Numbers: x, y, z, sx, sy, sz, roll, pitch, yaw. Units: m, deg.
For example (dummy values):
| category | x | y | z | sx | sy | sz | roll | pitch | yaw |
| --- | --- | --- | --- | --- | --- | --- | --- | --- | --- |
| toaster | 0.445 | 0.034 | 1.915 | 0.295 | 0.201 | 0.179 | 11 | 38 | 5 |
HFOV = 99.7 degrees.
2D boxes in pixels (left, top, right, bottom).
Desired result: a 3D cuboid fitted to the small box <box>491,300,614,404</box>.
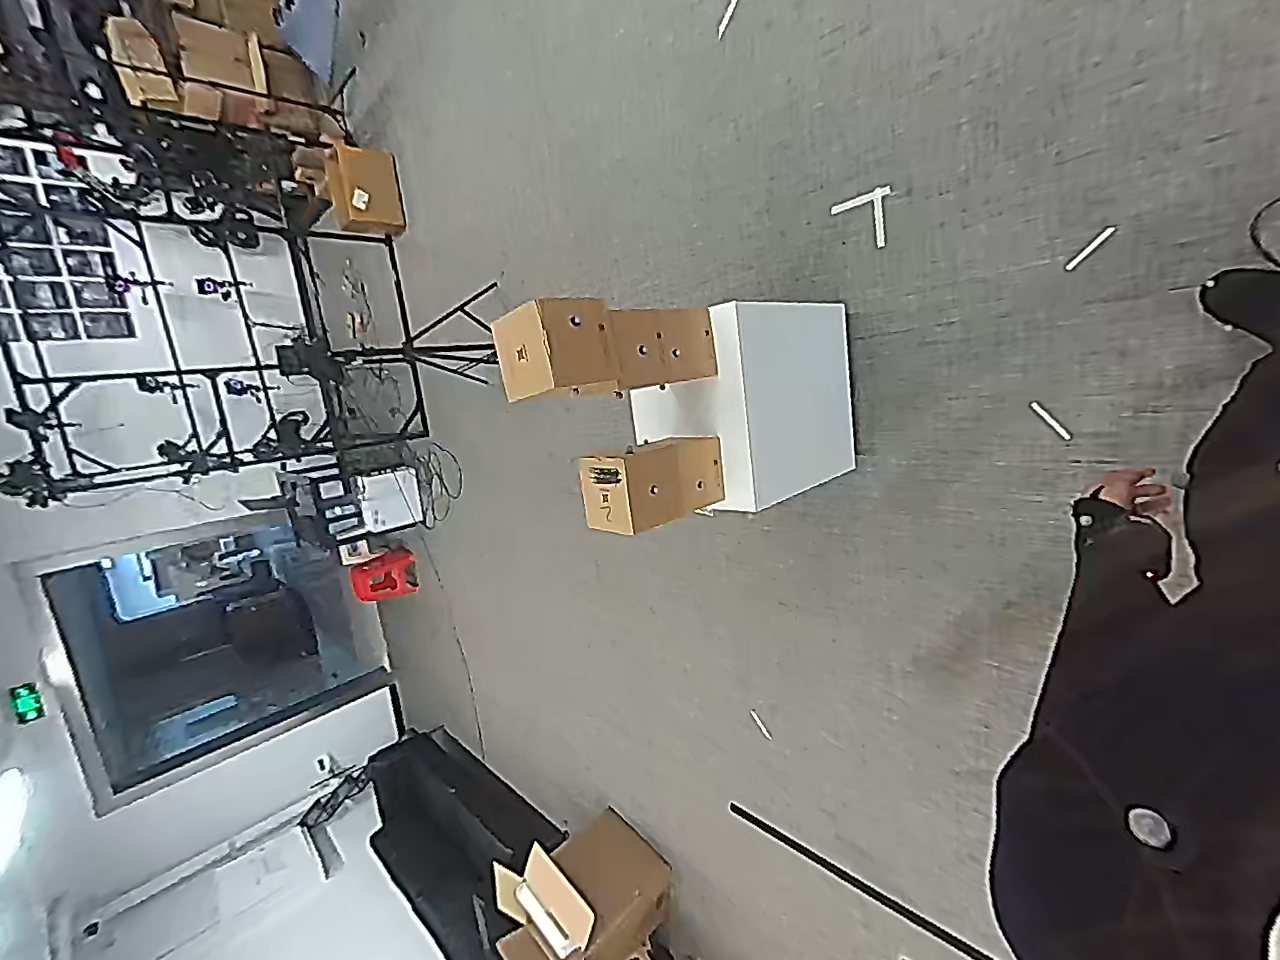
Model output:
| category | x | y | z | sx | sy | sz | roll | pitch | yaw |
| --- | --- | --- | --- | --- | --- | --- | --- | --- | --- |
| small box | -0.168 | -0.257 | 1.086 | 0.179 | 0.176 | 0.168 | -6 | 98 | 48 |

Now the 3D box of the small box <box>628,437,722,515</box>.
| category | x | y | z | sx | sy | sz | roll | pitch | yaw |
| --- | --- | --- | --- | --- | --- | --- | --- | --- | --- |
| small box | 0.095 | -0.018 | 1.380 | 0.179 | 0.176 | 0.168 | 4 | 105 | 47 |

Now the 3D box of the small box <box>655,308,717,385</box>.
| category | x | y | z | sx | sy | sz | roll | pitch | yaw |
| --- | --- | --- | --- | --- | --- | --- | --- | --- | --- |
| small box | 0.061 | -0.317 | 1.314 | 0.179 | 0.176 | 0.168 | 0 | 104 | 48 |

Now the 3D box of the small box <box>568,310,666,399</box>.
| category | x | y | z | sx | sy | sz | roll | pitch | yaw |
| --- | --- | --- | --- | --- | --- | --- | --- | --- | --- |
| small box | -0.058 | -0.280 | 1.205 | 0.179 | 0.176 | 0.168 | 1 | 104 | 47 |
